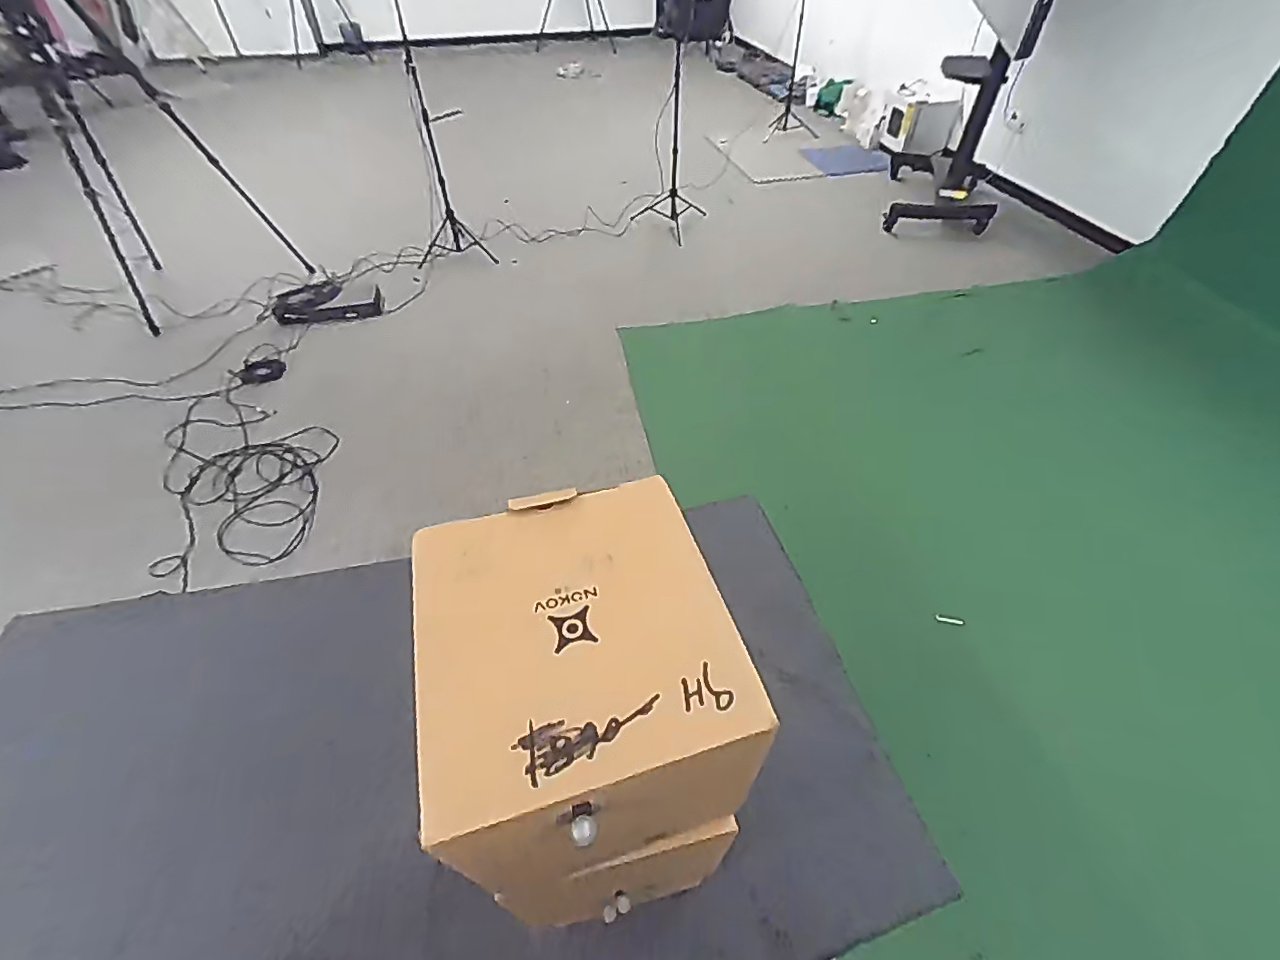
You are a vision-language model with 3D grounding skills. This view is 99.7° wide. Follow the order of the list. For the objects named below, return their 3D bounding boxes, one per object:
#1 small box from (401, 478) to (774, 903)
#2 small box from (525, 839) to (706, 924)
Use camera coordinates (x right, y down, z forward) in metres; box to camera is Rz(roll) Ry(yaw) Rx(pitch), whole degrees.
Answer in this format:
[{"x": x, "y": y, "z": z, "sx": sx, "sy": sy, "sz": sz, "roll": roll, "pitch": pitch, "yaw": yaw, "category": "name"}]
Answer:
[{"x": -0.039, "y": 0.129, "z": 0.343, "sx": 0.168, "sy": 0.176, "sz": 0.179, "roll": -13, "pitch": 48, "yaw": -11, "category": "small box"}, {"x": -0.034, "y": 0.352, "z": 0.585, "sx": 0.168, "sy": 0.176, "sz": 0.179, "roll": -10, "pitch": 47, "yaw": -9, "category": "small box"}]
